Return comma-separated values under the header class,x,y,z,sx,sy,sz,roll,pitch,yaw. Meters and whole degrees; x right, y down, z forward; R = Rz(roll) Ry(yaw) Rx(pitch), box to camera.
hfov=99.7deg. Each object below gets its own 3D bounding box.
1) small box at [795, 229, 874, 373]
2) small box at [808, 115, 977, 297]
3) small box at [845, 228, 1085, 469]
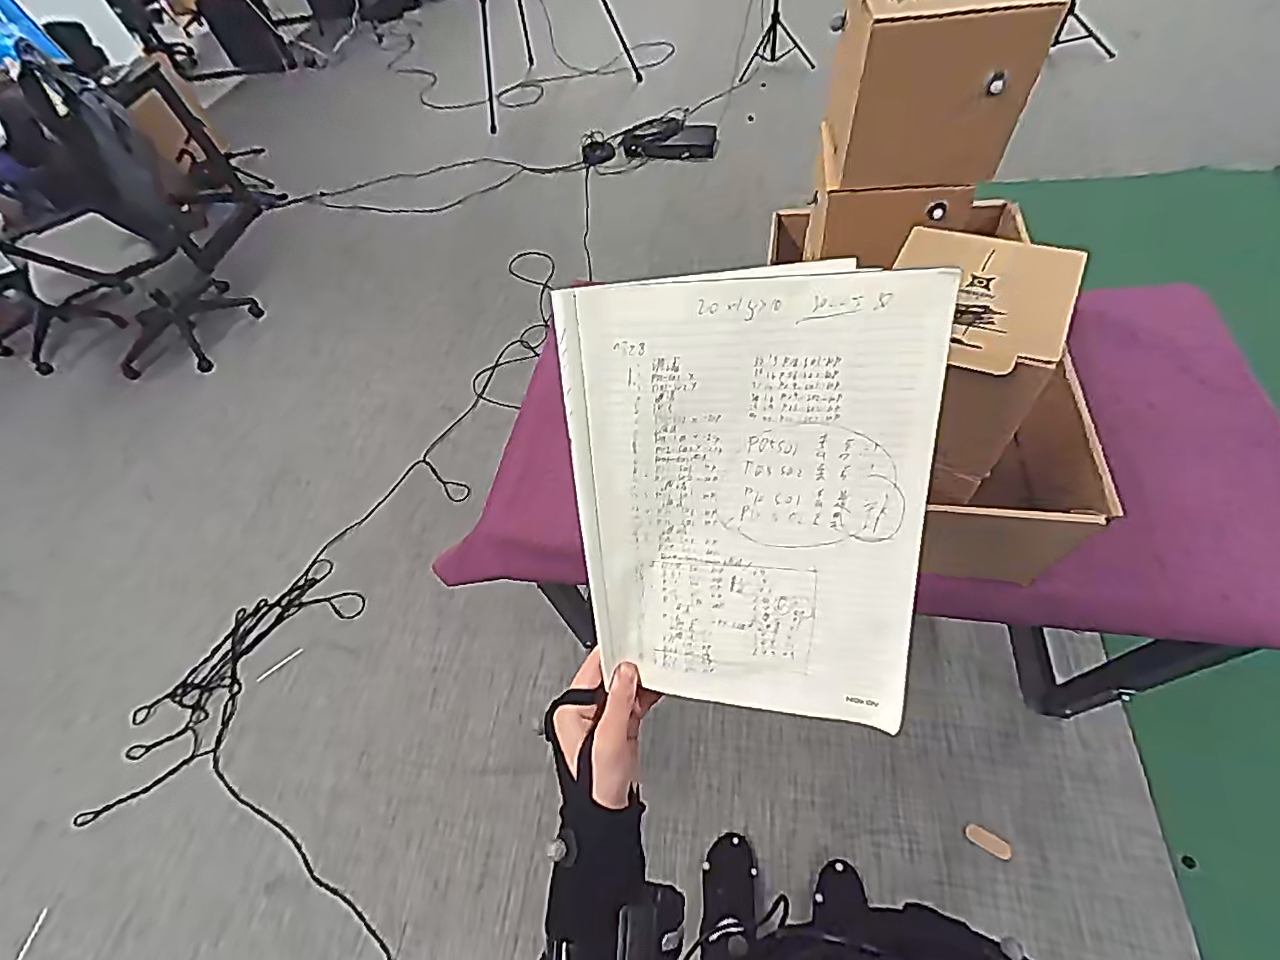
class,x,y,z,sx,sy,sz,roll,pitch,yaw
small box,0.350,-0.290,0.892,0.168,0.176,0.179,4,60,12
small box,0.332,-0.373,0.754,0.179,0.176,0.168,2,59,11
small box,0.338,-0.140,0.592,0.168,0.176,0.179,22,61,24
